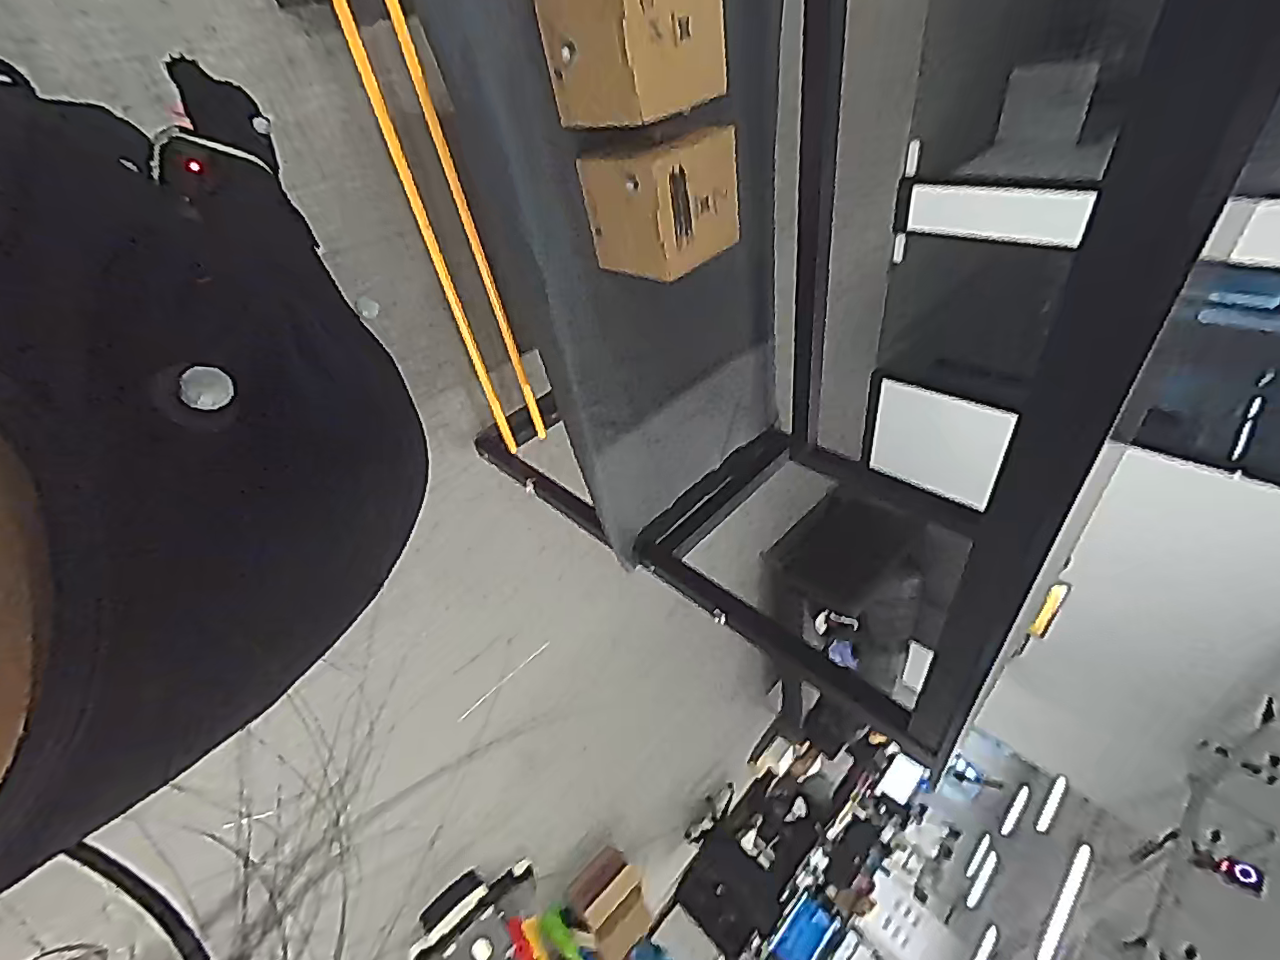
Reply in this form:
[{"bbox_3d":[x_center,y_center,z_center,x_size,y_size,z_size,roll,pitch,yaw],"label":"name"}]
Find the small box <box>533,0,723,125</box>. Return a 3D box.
[{"bbox_3d":[-0.012,-0.588,0.716,0.179,0.176,0.168,-39,137,-26],"label":"small box"}]
